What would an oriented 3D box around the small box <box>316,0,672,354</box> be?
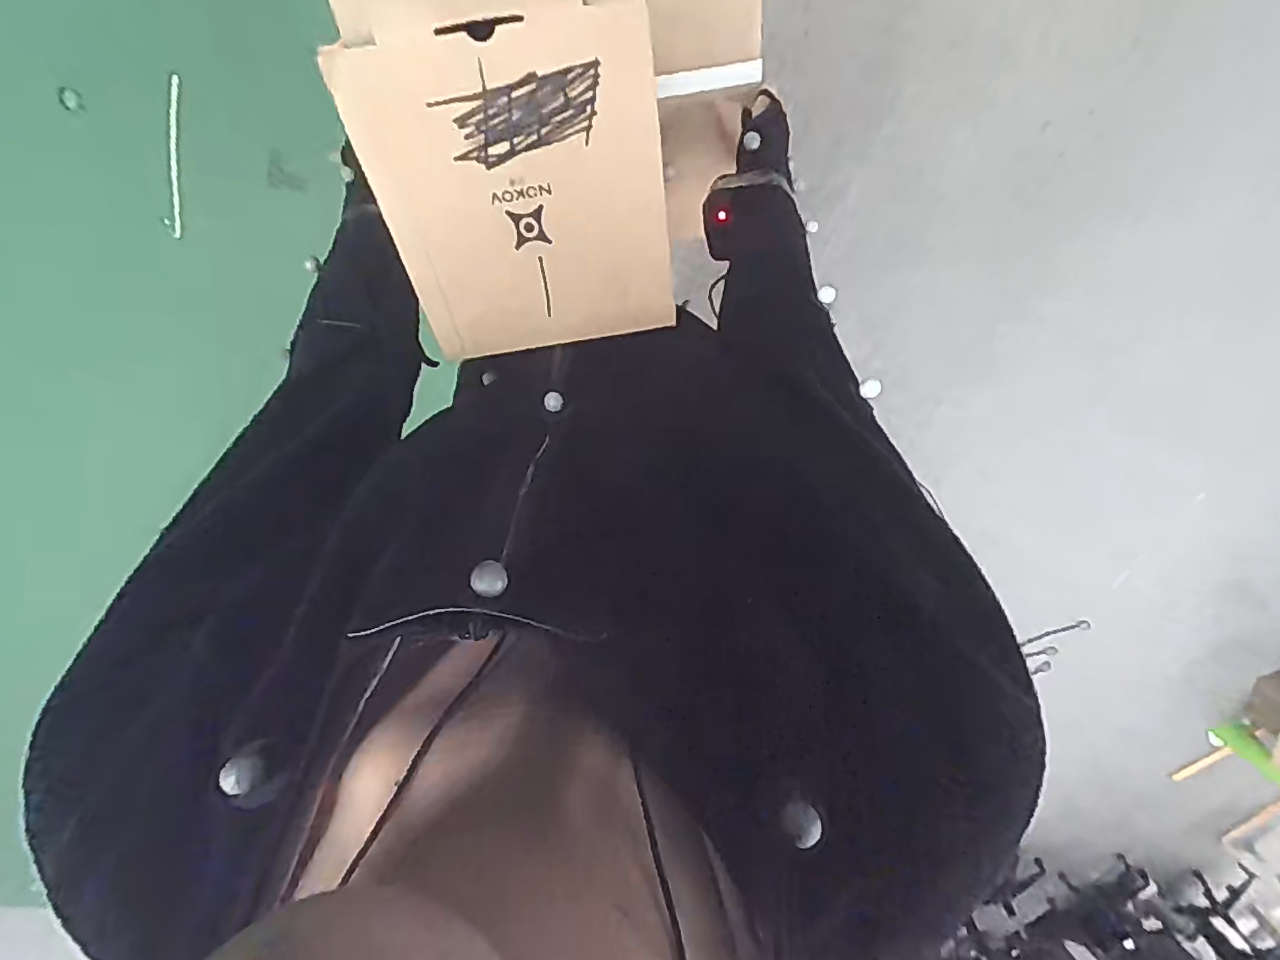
[{"bbox_3d":[-0.074,-0.213,0.371,0.168,0.176,0.179,-8,133,1],"label":"small box"}]
